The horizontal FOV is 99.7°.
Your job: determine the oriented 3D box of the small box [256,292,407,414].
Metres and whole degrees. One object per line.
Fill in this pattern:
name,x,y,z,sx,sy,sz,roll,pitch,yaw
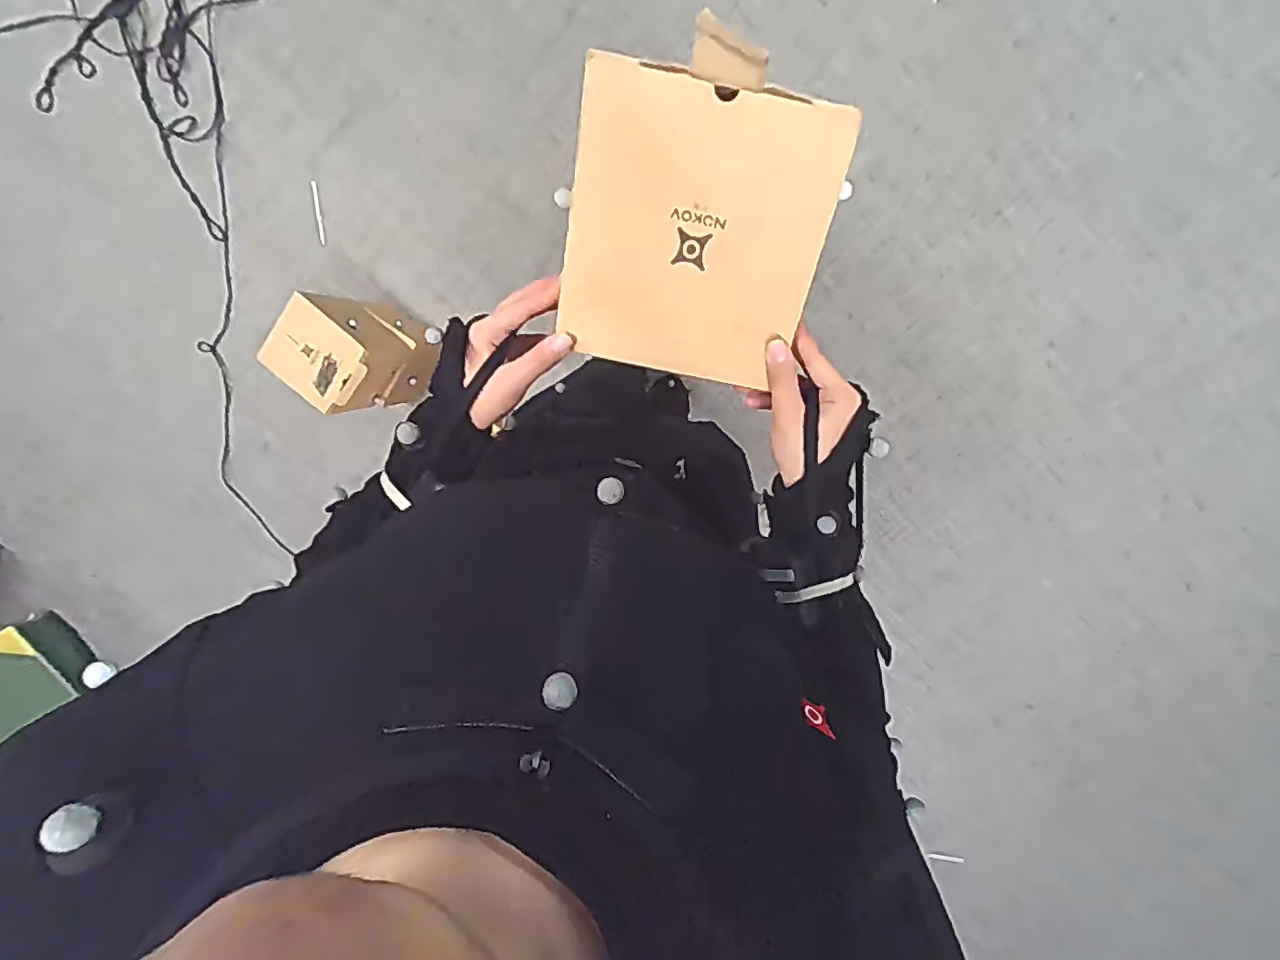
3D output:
small box,-0.622,-0.261,1.115,0.179,0.176,0.168,40,104,-3

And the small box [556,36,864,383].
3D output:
small box,0.041,-0.196,0.417,0.168,0.176,0.179,11,116,-1

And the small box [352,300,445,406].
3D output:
small box,-0.593,-0.297,1.273,0.168,0.176,0.179,35,105,-2
